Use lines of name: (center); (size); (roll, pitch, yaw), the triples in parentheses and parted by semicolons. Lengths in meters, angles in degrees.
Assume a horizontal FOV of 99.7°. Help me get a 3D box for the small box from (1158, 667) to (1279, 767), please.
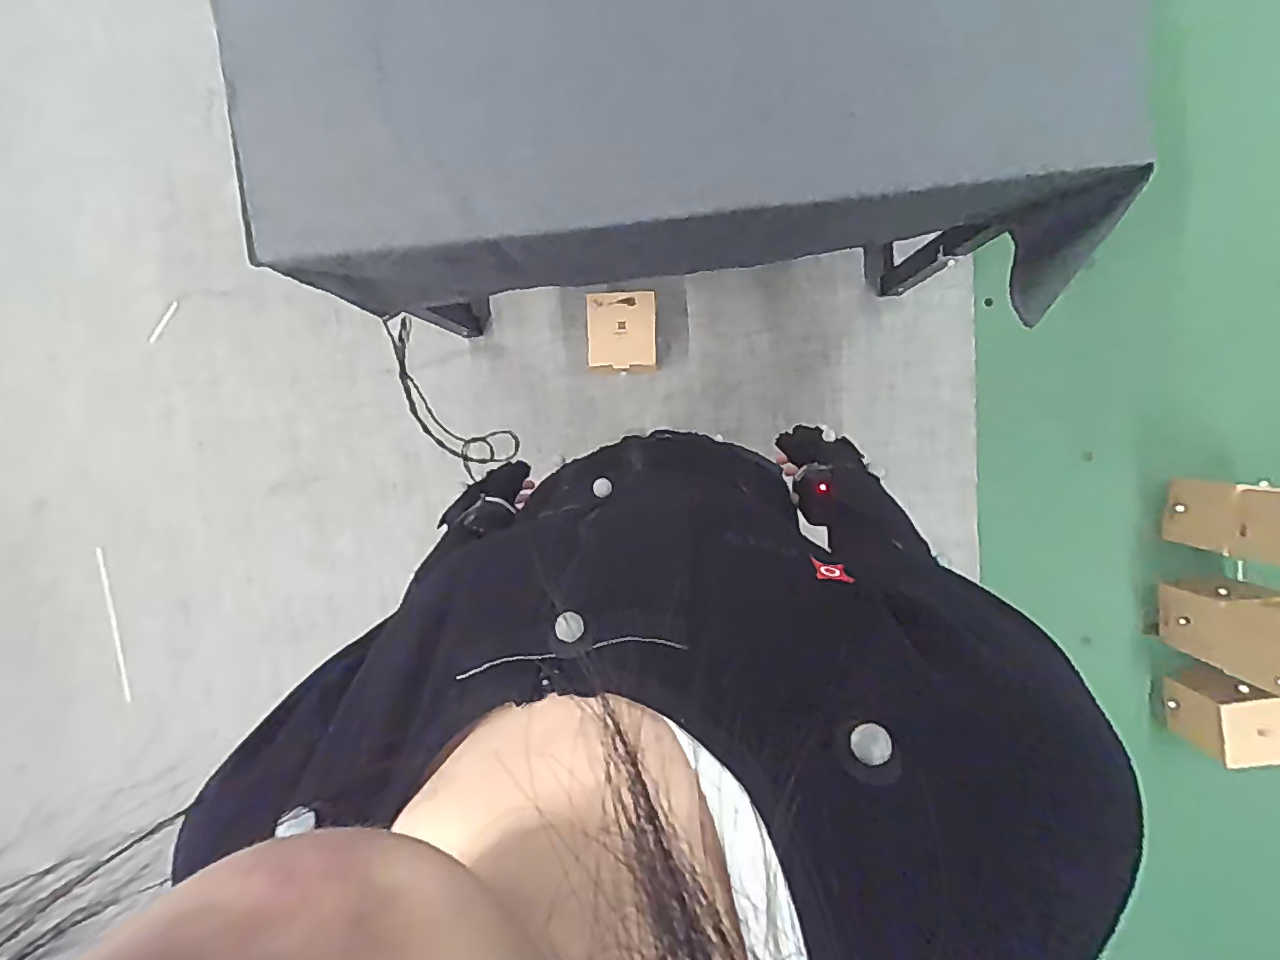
small box: (1.485, 0.594, 1.374); (0.179, 0.176, 0.168); (-10, 95, 4)

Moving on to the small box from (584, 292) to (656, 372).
small box: (-0.045, -0.366, 1.361); (0.168, 0.176, 0.179); (0, 96, 4)

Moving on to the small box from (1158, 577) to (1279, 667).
small box: (1.452, 0.350, 1.352); (0.179, 0.176, 0.168); (-7, 95, 3)

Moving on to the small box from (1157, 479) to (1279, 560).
small box: (1.448, 0.092, 1.329); (0.179, 0.176, 0.168); (6, 95, 4)

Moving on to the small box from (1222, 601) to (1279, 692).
small box: (1.449, 0.371, 1.191); (0.168, 0.176, 0.179); (-4, 95, 3)
